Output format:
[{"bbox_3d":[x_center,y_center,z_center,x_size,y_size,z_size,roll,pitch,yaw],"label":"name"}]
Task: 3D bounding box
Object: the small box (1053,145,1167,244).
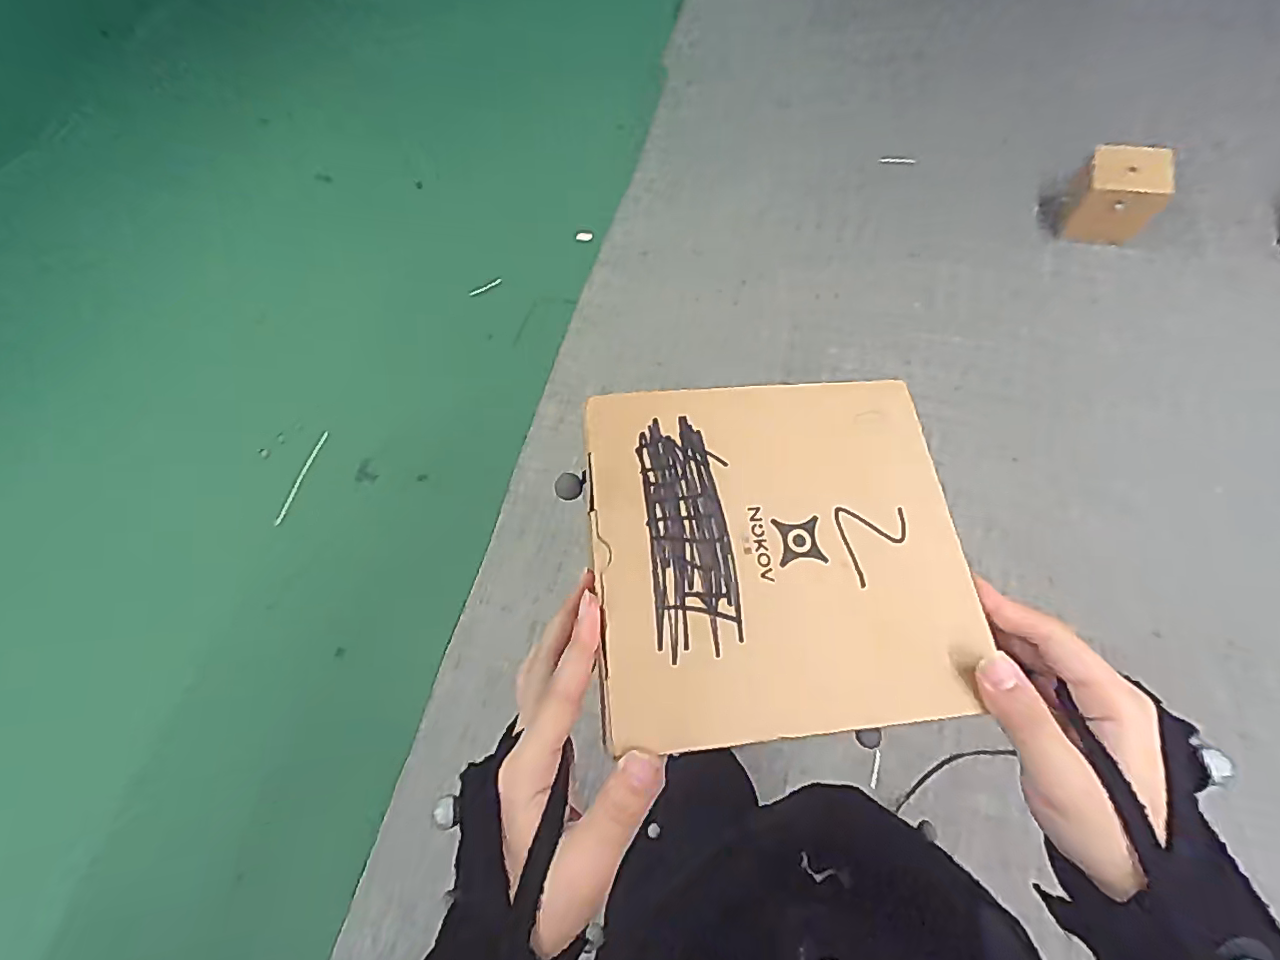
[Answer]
[{"bbox_3d":[1.266,-0.767,1.463,0.179,0.176,0.168,13,70,15],"label":"small box"}]
